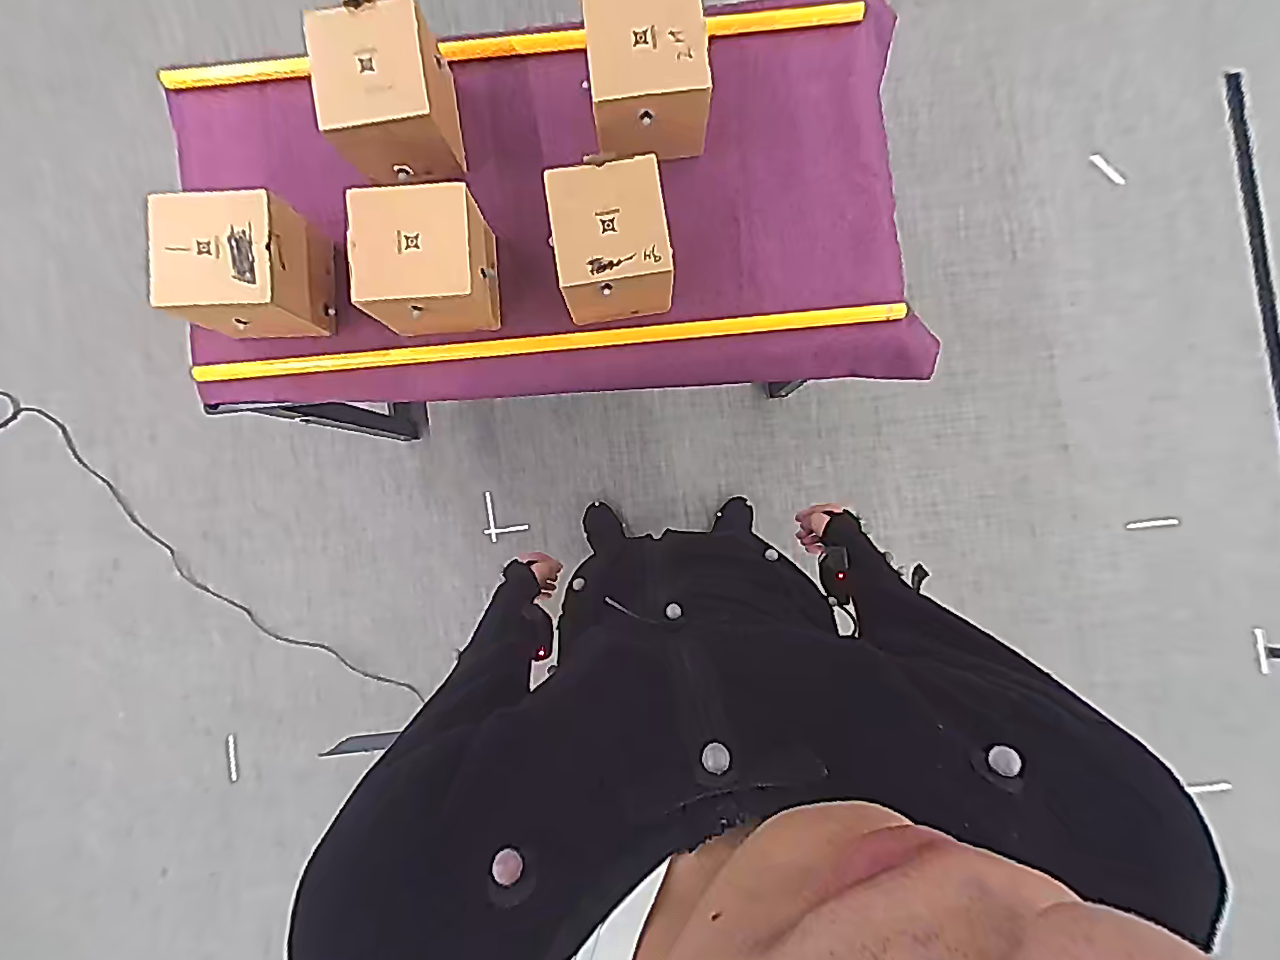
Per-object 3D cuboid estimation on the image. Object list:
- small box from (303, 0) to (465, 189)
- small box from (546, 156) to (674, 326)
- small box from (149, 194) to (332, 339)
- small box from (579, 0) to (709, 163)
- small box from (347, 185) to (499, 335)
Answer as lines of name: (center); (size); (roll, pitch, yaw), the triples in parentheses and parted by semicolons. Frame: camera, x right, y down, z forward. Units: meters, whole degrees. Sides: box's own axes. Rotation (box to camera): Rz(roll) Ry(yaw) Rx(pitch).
small box: (-0.392, -0.598, 0.855); (0.168, 0.176, 0.179); (-8, 90, 1)
small box: (-0.043, -0.363, 0.847); (0.168, 0.176, 0.179); (-8, 86, 1)
small box: (-0.611, -0.325, 0.849); (0.179, 0.176, 0.168); (-2, 89, 0)
small box: (0.008, -0.628, 0.851); (0.179, 0.176, 0.168); (-6, 90, 1)
small box: (-0.328, -0.335, 0.850); (0.179, 0.176, 0.168); (-4, 89, 1)
